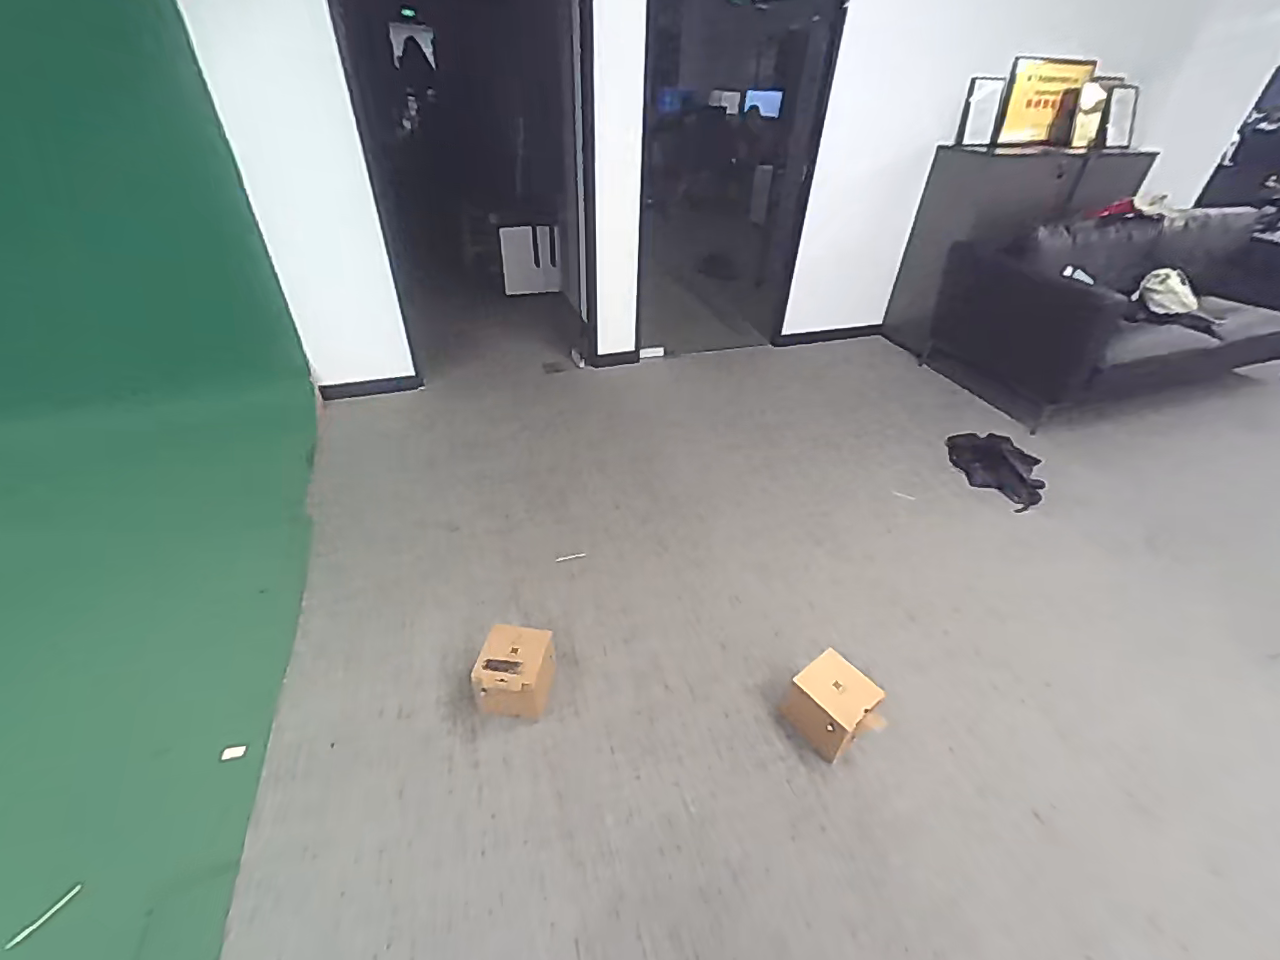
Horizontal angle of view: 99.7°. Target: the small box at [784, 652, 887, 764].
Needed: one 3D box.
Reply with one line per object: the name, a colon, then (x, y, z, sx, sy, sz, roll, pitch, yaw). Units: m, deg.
small box: (0.504, 0.598, 1.419, 0.168, 0.176, 0.179, -24, 46, -31)
